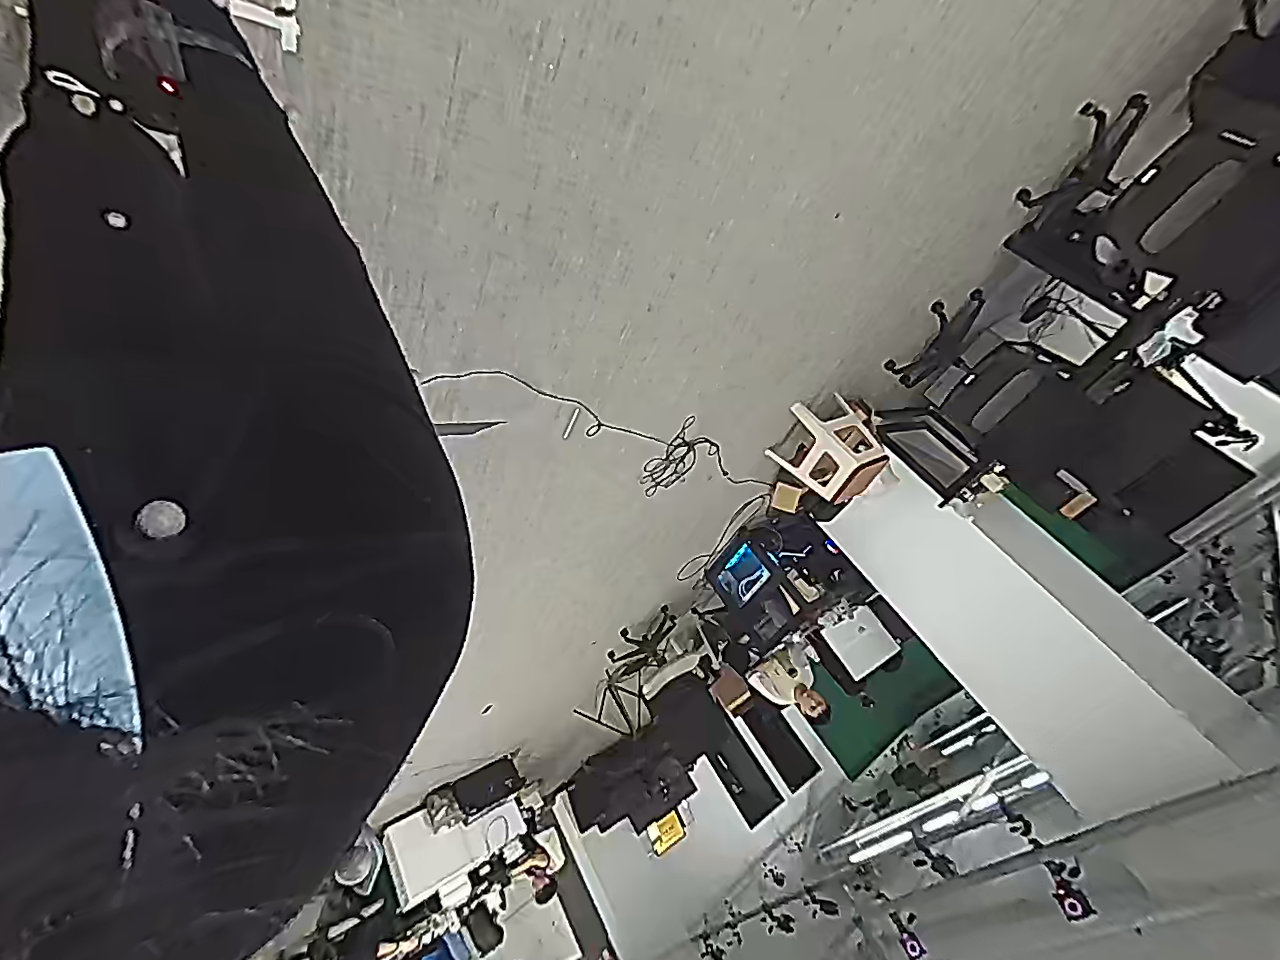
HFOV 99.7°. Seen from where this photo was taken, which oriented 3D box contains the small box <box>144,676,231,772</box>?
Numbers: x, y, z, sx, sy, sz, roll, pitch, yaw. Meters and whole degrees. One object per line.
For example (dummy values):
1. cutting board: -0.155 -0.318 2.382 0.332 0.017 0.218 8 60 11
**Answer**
1. small box: -1.303 0.700 1.562 0.168 0.176 0.179 -13 143 -37
